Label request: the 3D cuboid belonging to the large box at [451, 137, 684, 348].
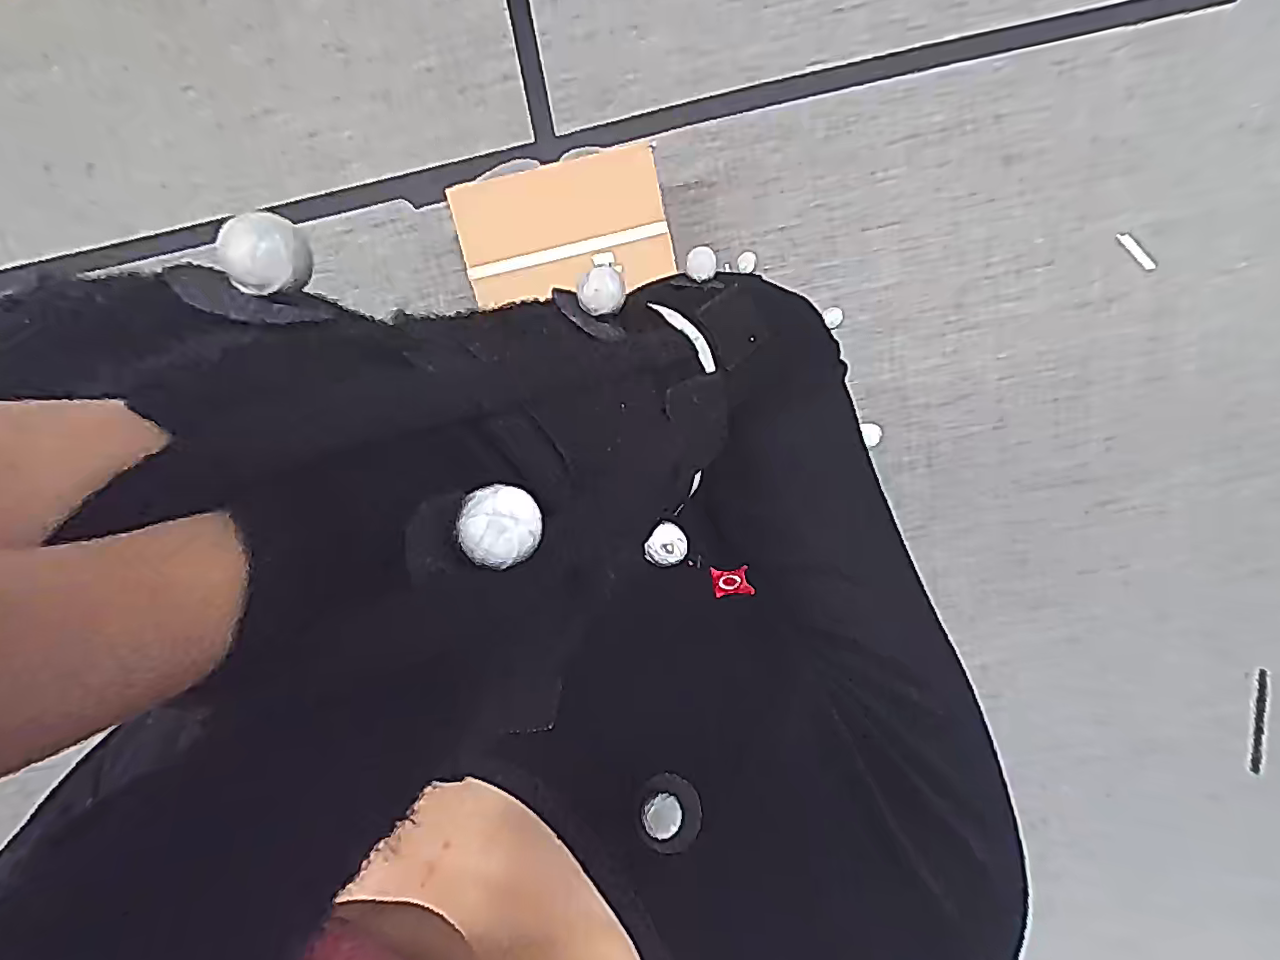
[{"bbox_3d":[-0.142,-0.494,1.206,0.408,0.320,0.320,-13,105,1],"label":"large box"}]
